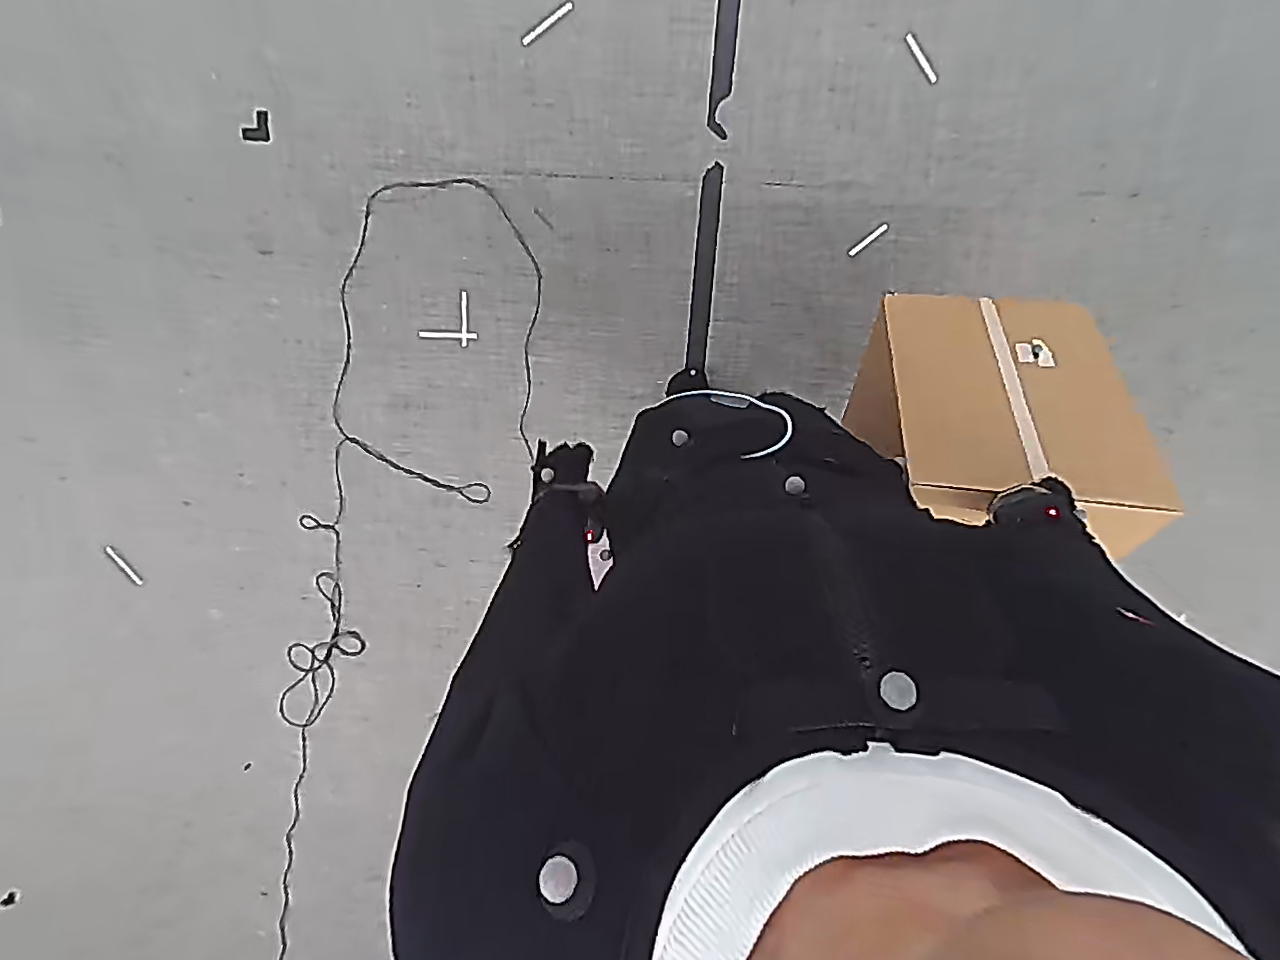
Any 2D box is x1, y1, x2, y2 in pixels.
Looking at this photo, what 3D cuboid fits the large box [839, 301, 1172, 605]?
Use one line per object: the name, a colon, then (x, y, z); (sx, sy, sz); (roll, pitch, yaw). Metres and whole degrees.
large box: (0.537, -0.047, 0.910); (0.320, 0.408, 0.320); (6, 143, 7)
